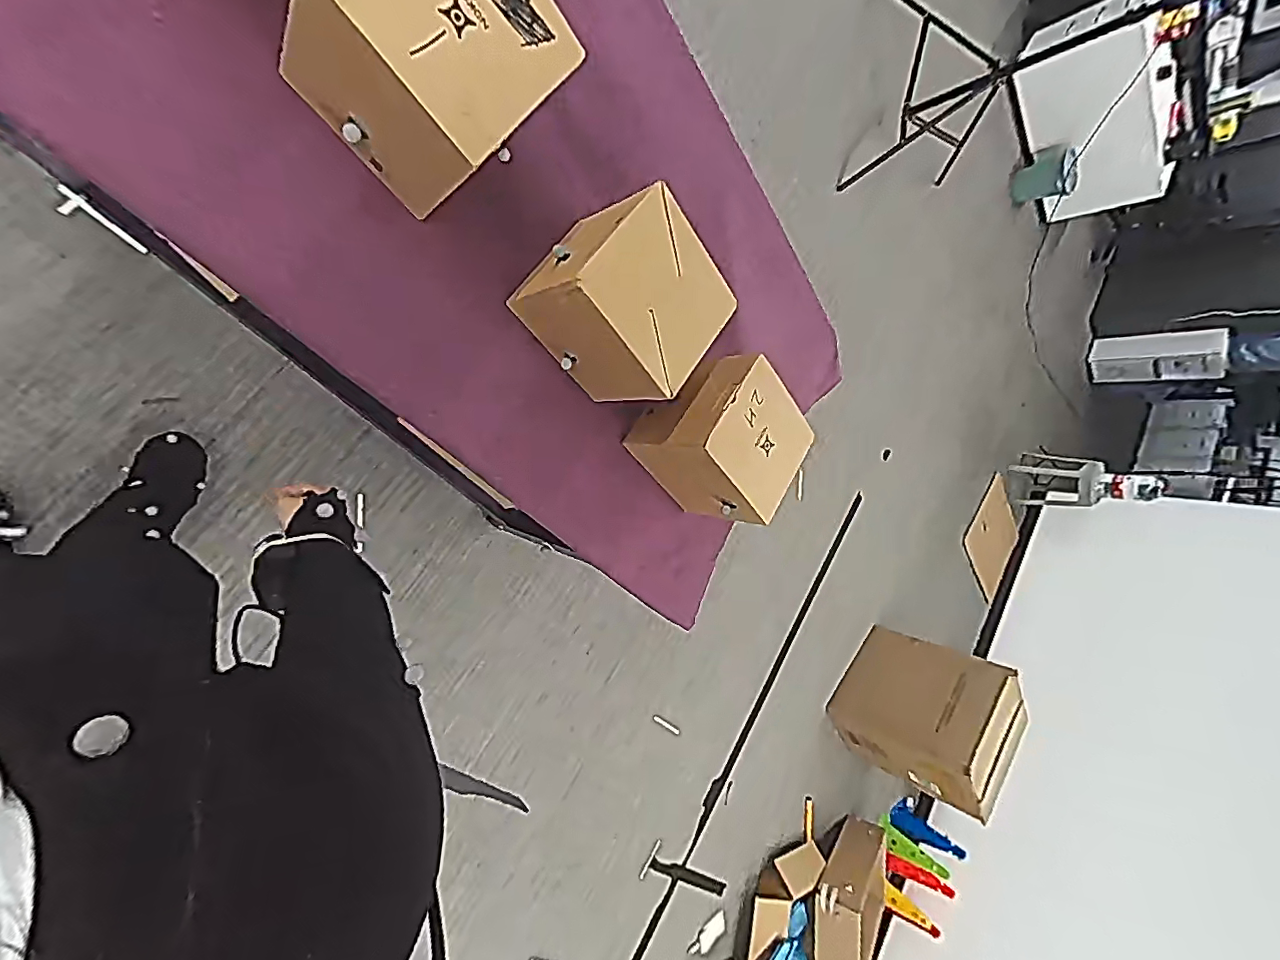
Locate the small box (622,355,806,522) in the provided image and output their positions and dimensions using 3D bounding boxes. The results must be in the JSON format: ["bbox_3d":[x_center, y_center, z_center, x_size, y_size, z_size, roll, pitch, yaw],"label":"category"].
[{"bbox_3d":[0.109,-0.062,0.800,0.179,0.176,0.168,47,65,-32],"label":"small box"}]

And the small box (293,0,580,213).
[{"bbox_3d":[-0.198,-0.397,0.519,0.168,0.176,0.179,46,68,-33],"label":"small box"}]

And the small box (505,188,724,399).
[{"bbox_3d":[-0.026,-0.222,0.672,0.179,0.176,0.168,47,66,-32],"label":"small box"}]
